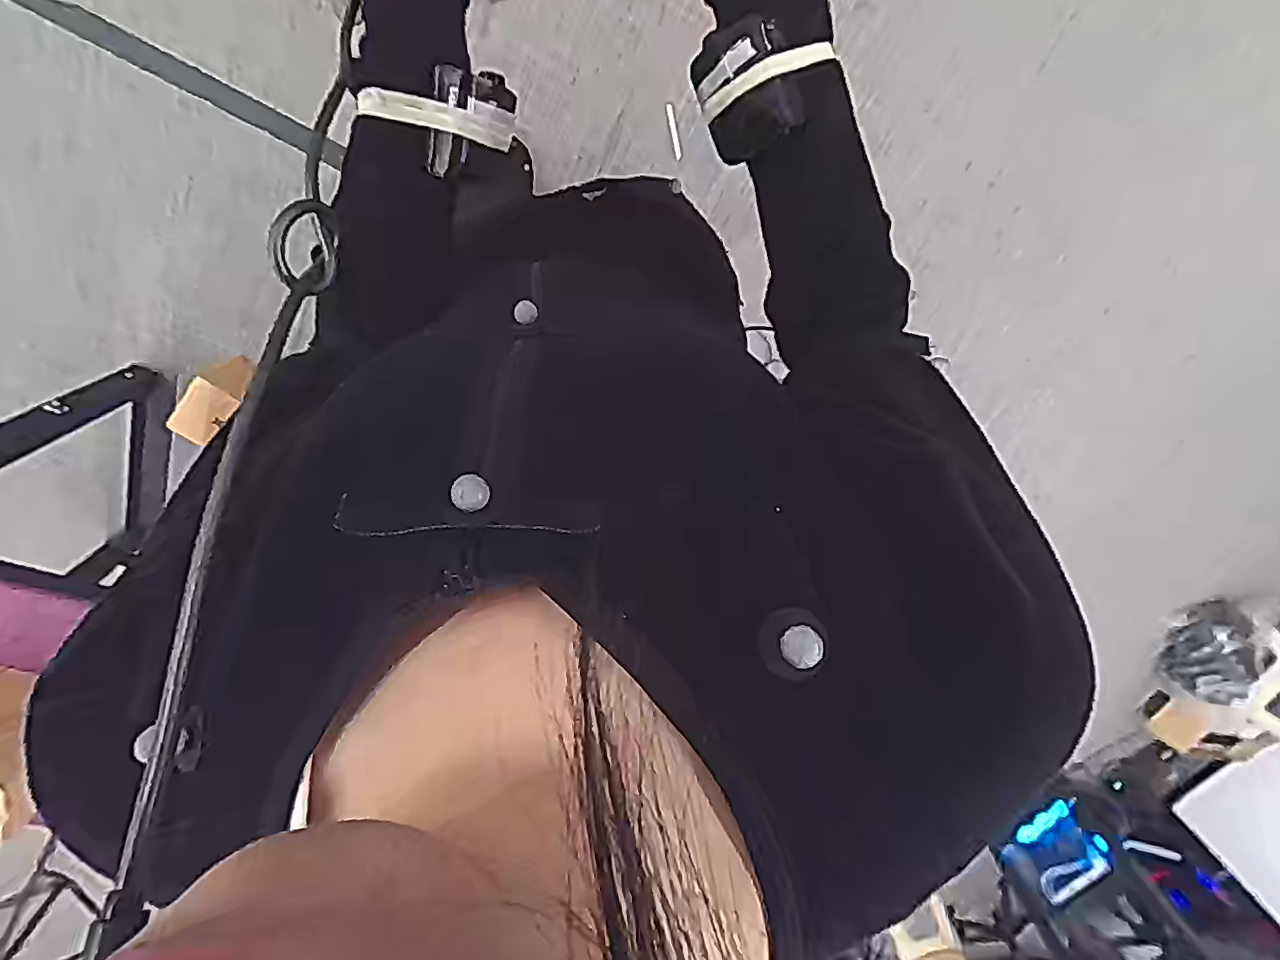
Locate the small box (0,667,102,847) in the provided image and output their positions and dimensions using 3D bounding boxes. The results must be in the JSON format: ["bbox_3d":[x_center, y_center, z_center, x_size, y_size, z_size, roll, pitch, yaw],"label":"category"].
[{"bbox_3d":[-0.975,0.405,0.808,0.179,0.176,0.168,23,115,-19],"label":"small box"}]

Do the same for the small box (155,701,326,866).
[{"bbox_3d":[-0.655,0.503,0.905,0.168,0.176,0.179,23,116,-17],"label":"small box"}]

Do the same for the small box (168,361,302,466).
[{"bbox_3d":[-0.981,-0.171,1.325,0.179,0.176,0.168,38,108,-25],"label":"small box"}]

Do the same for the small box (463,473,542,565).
[{"bbox_3d":[-0.391,0.106,1.554,0.168,0.176,0.179,22,116,-18],"label":"small box"}]
